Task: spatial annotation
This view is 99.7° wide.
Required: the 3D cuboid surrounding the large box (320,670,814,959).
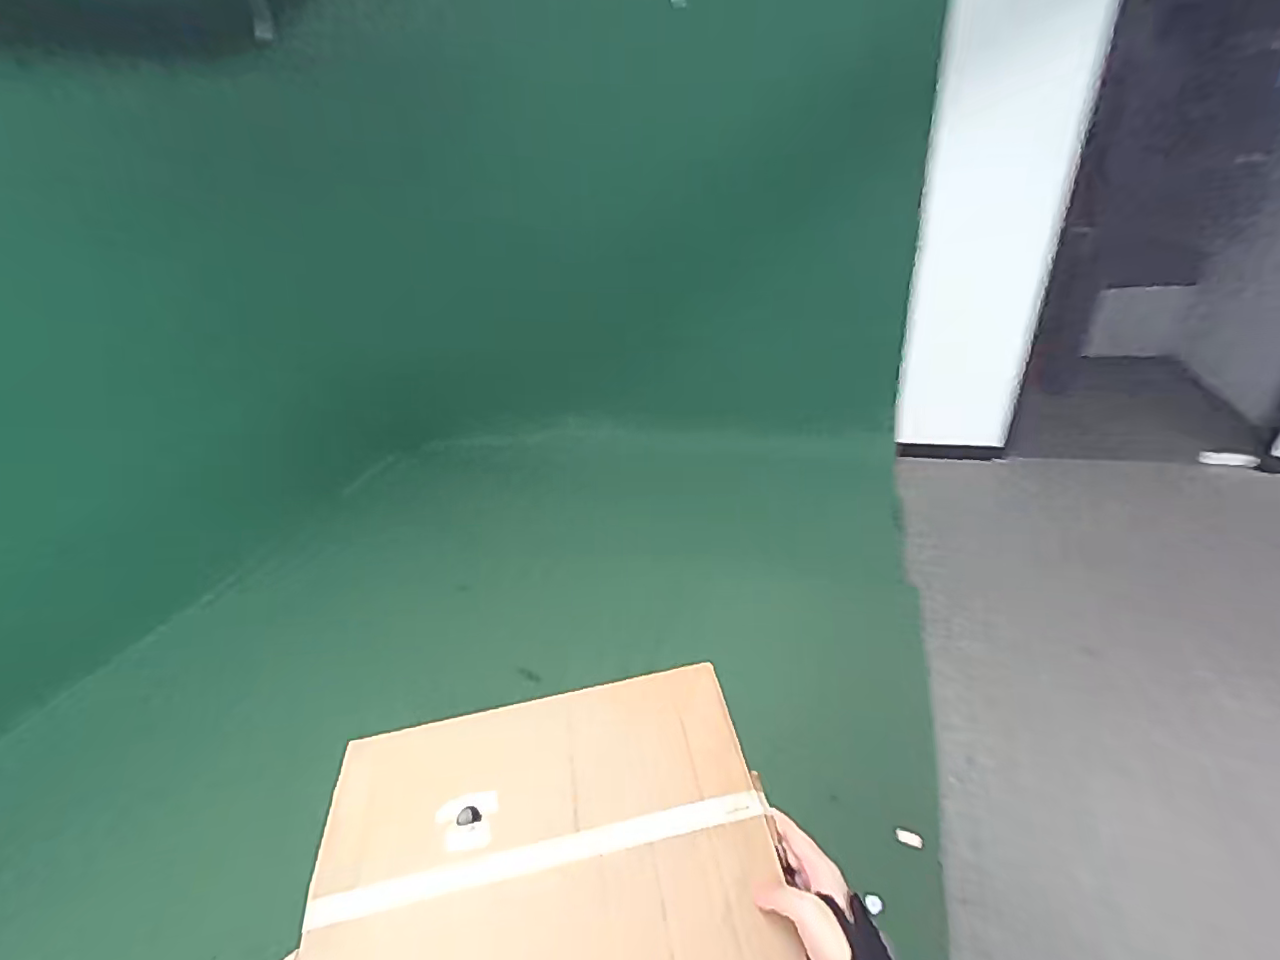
[{"bbox_3d":[-0.059,0.462,0.579,0.408,0.320,0.320,-12,37,-3],"label":"large box"}]
